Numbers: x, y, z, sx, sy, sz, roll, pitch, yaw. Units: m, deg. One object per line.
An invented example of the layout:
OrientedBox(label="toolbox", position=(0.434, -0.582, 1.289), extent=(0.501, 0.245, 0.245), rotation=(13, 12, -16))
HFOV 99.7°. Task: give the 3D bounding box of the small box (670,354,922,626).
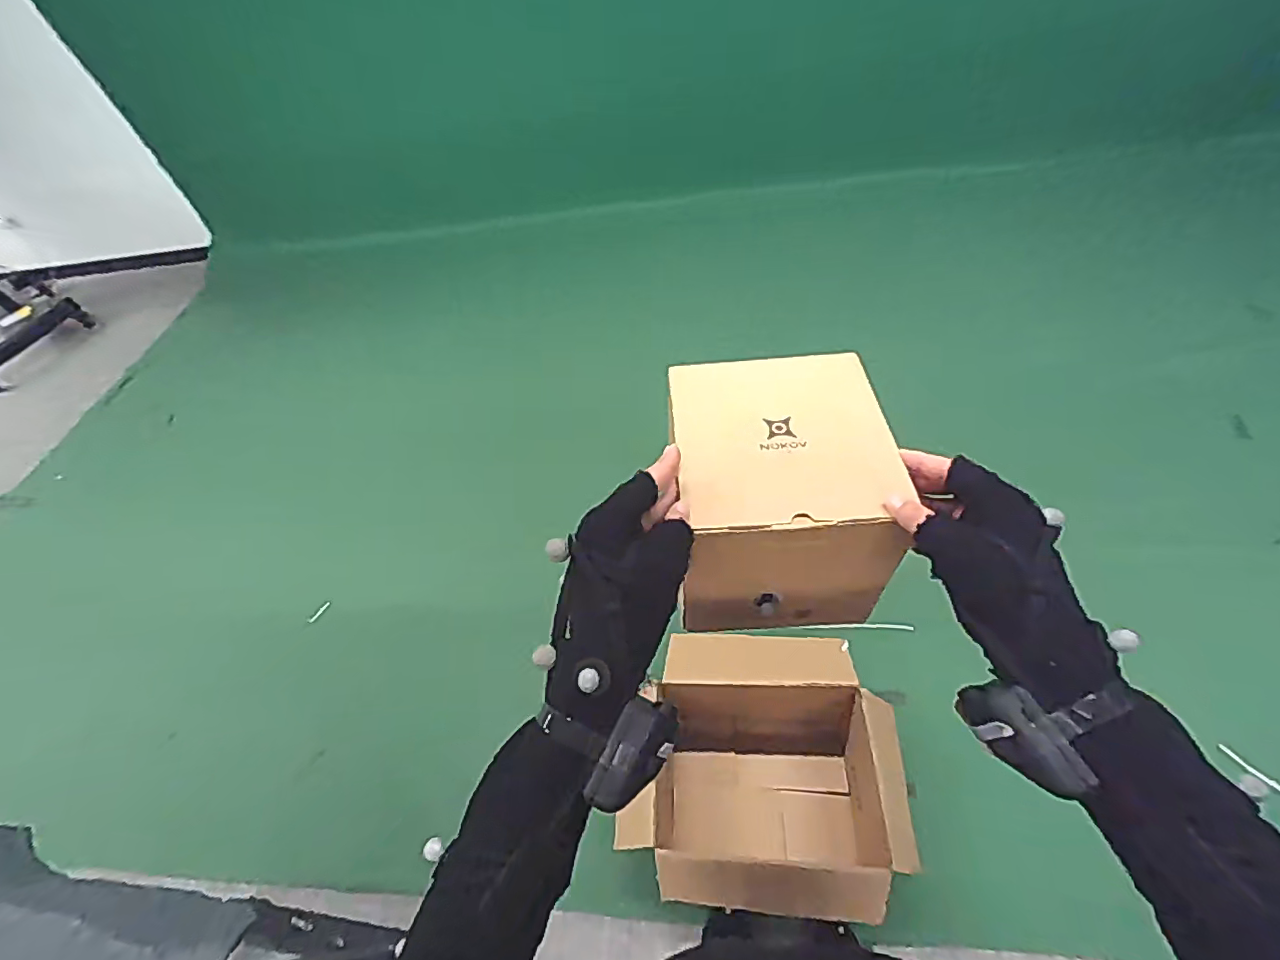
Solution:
OrientedBox(label="small box", position=(0.113, 0.012, 0.482), extent=(0.168, 0.176, 0.179), rotation=(-4, 52, 2))
